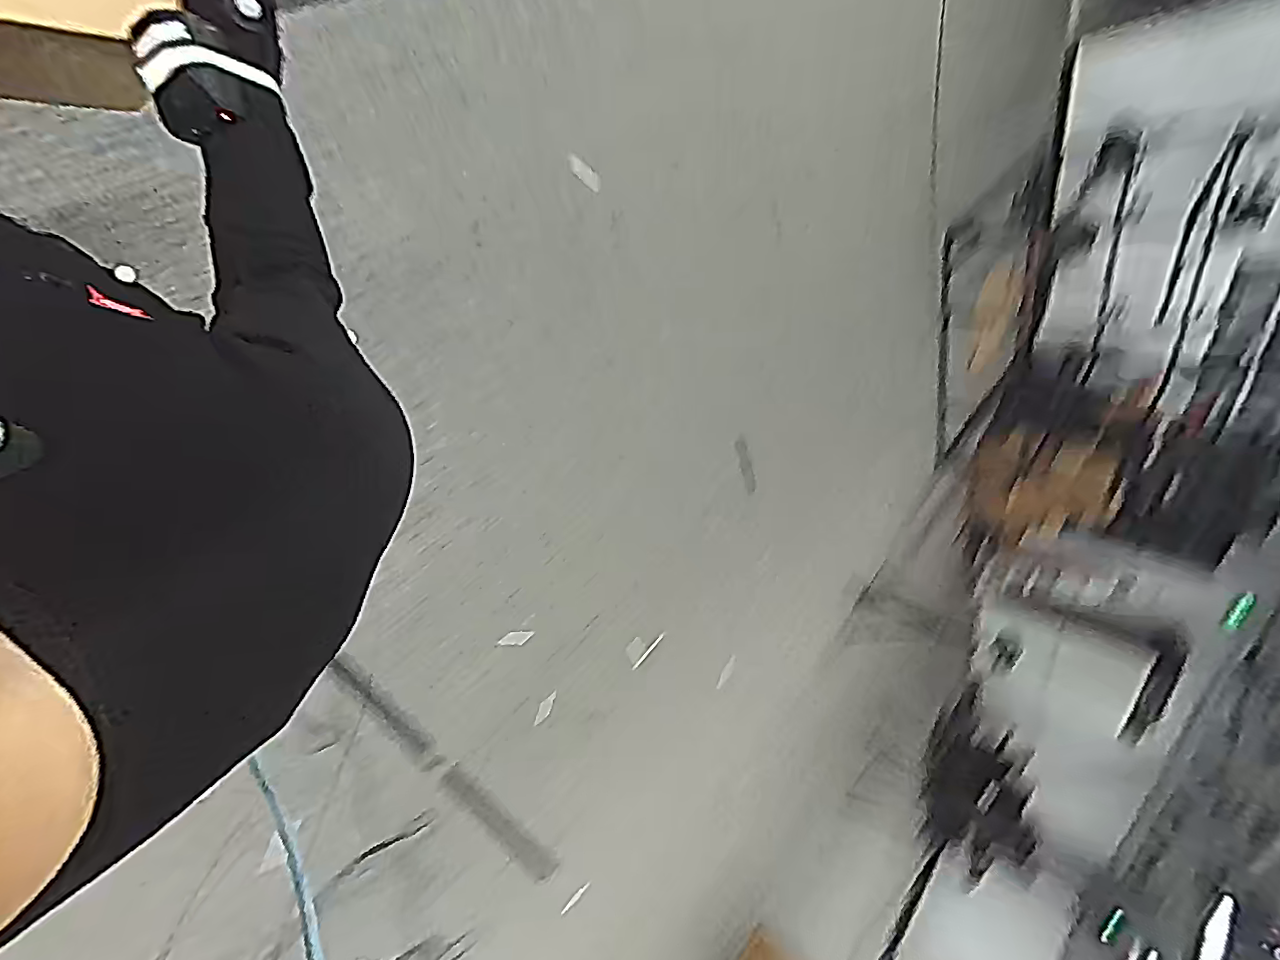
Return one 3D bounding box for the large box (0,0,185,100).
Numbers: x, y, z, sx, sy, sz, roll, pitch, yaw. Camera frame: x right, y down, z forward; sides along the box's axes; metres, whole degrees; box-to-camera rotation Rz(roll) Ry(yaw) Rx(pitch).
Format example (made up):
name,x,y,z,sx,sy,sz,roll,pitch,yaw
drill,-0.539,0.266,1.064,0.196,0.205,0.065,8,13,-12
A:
name,x,y,z,sx,sy,sz,roll,pitch,yaw
large box,-0.583,-0.440,0.299,0.408,0.320,0.320,-25,126,-42
